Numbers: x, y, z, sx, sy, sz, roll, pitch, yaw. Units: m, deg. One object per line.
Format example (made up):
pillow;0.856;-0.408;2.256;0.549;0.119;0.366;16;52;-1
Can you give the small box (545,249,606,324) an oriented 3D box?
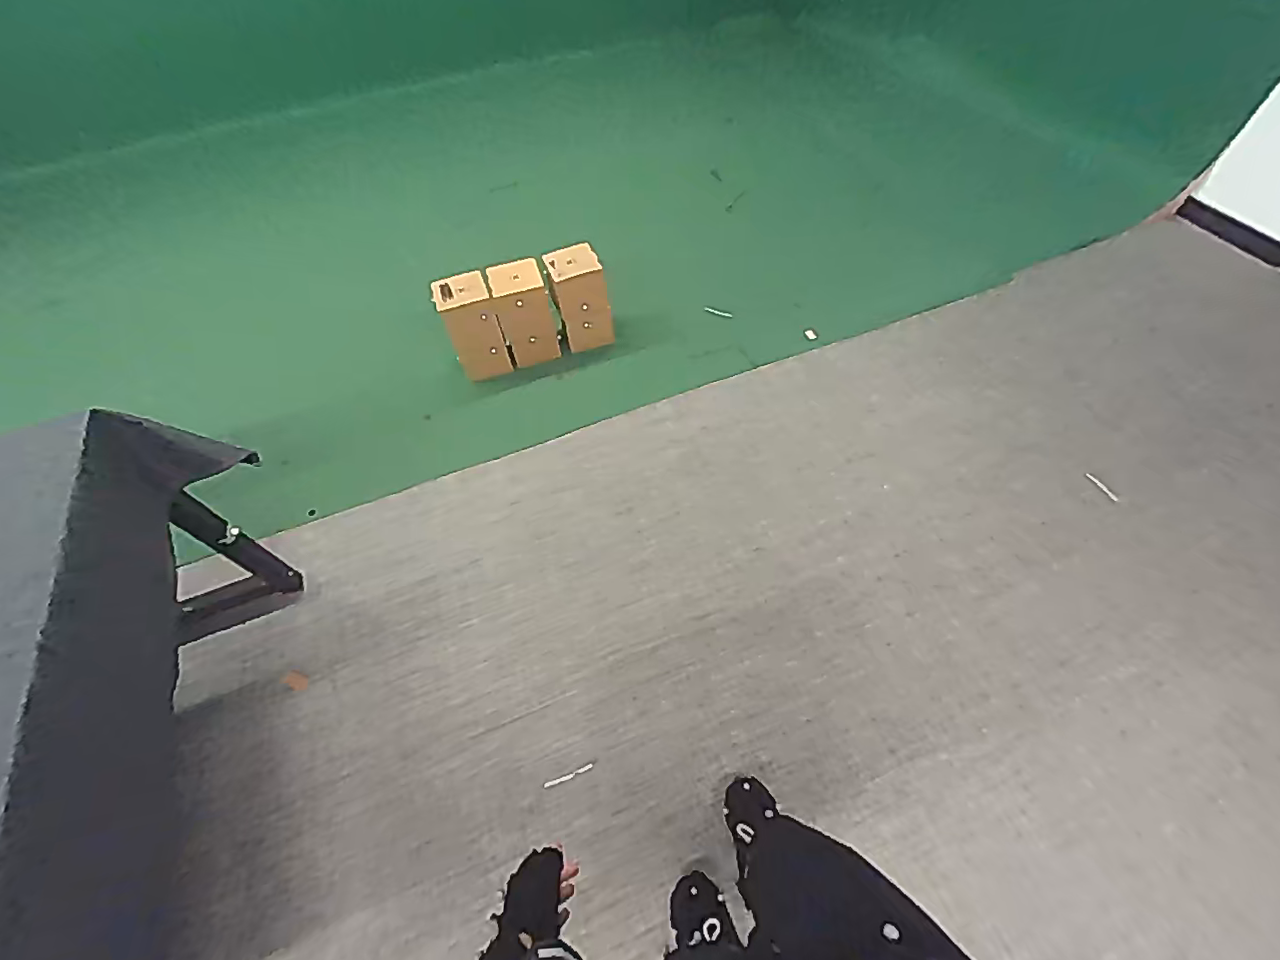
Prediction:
small box;-0.227;-0.693;1.944;0.179;0.176;0.168;-19;57;-11
